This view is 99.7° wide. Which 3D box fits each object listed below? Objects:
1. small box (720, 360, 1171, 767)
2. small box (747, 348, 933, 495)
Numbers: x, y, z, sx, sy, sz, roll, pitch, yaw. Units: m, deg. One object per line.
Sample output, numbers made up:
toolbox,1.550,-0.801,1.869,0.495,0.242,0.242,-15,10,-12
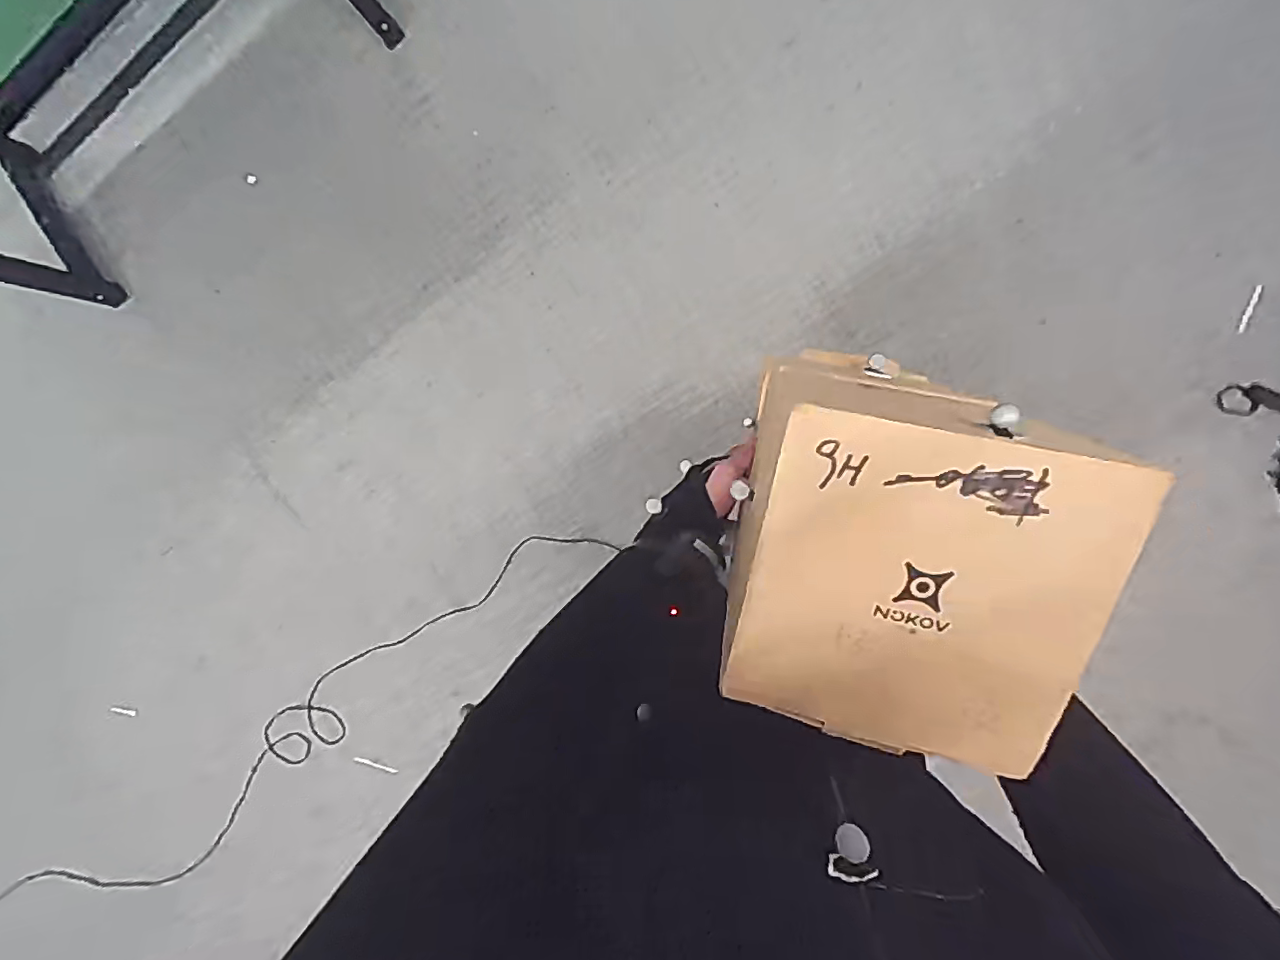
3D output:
small box,0.154,0.032,0.344,0.168,0.176,0.179,12,111,9
small box,0.223,-0.062,0.650,0.168,0.176,0.179,8,108,10
